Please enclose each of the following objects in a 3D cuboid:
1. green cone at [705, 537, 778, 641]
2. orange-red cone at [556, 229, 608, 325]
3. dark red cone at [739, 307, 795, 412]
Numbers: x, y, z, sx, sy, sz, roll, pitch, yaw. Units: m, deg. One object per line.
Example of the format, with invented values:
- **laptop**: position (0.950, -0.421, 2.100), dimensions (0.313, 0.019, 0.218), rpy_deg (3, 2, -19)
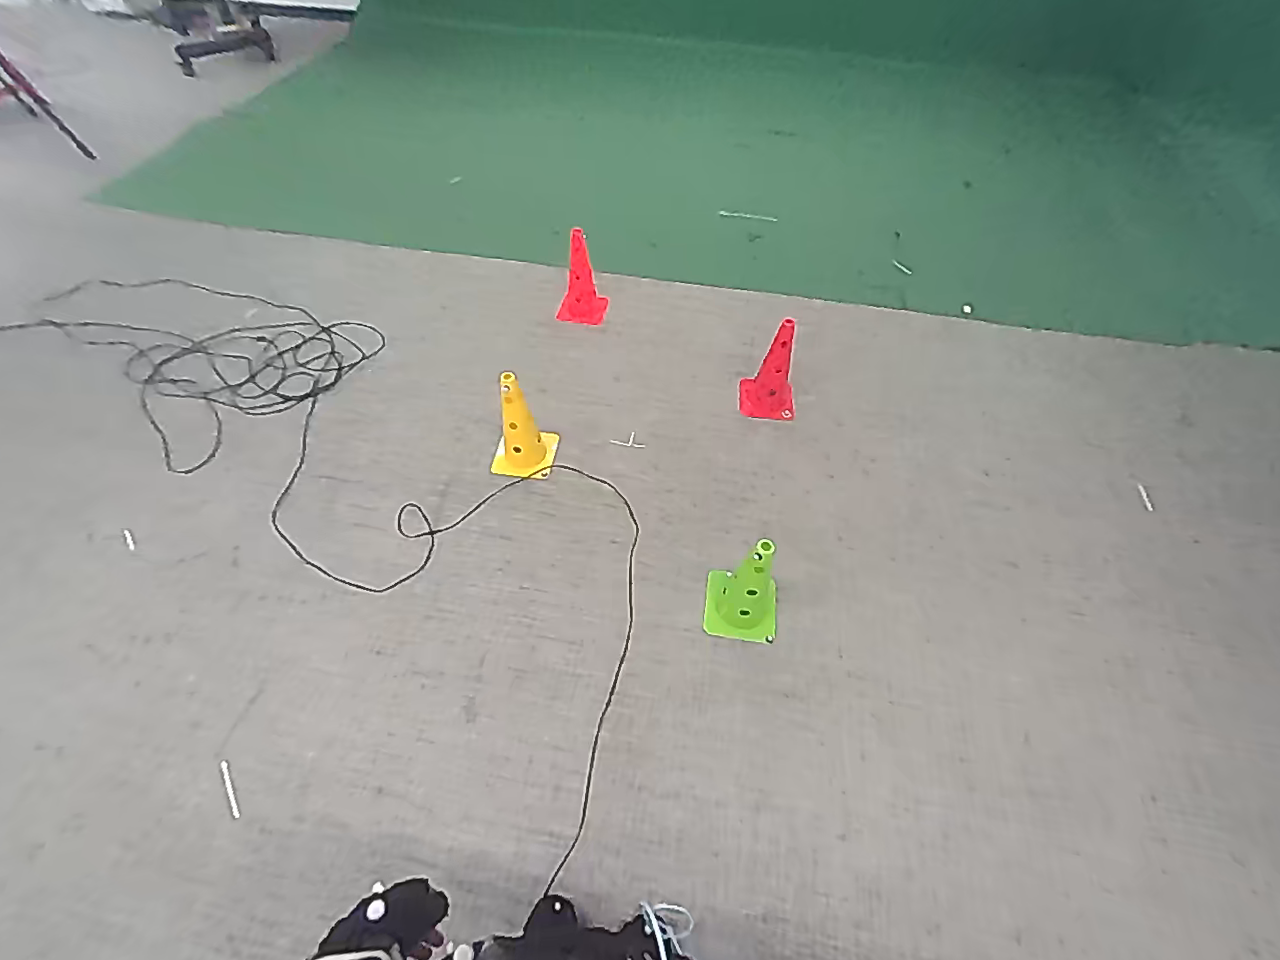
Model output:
- **green cone**: position (0.292, 0.254, 1.414), dimensions (0.202, 0.368, 0.200), rpy_deg (7, 53, 5)
- **orange-red cone**: position (-0.248, -0.841, 2.203), dimensions (0.198, 0.360, 0.199), rpy_deg (9, 55, 6)
- **dark red cone**: position (0.476, -0.425, 1.885), dimensions (0.202, 0.394, 0.201), rpy_deg (5, 53, 2)
